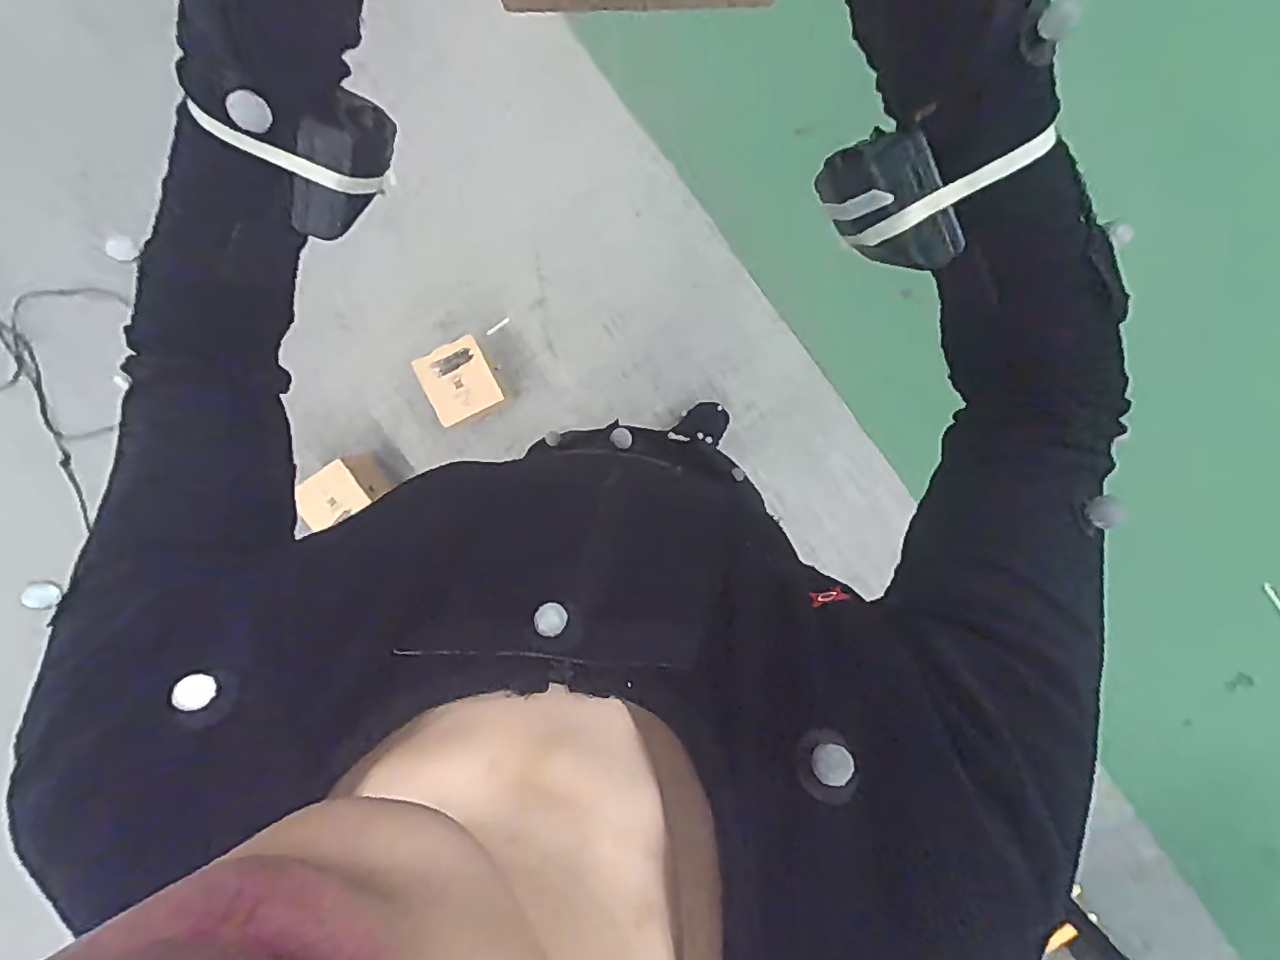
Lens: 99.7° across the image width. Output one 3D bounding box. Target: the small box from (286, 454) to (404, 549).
[{"bbox_3d":[-0.751,0.047,1.399,0.168,0.176,0.179,-33,95,4],"label":"small box"}]
